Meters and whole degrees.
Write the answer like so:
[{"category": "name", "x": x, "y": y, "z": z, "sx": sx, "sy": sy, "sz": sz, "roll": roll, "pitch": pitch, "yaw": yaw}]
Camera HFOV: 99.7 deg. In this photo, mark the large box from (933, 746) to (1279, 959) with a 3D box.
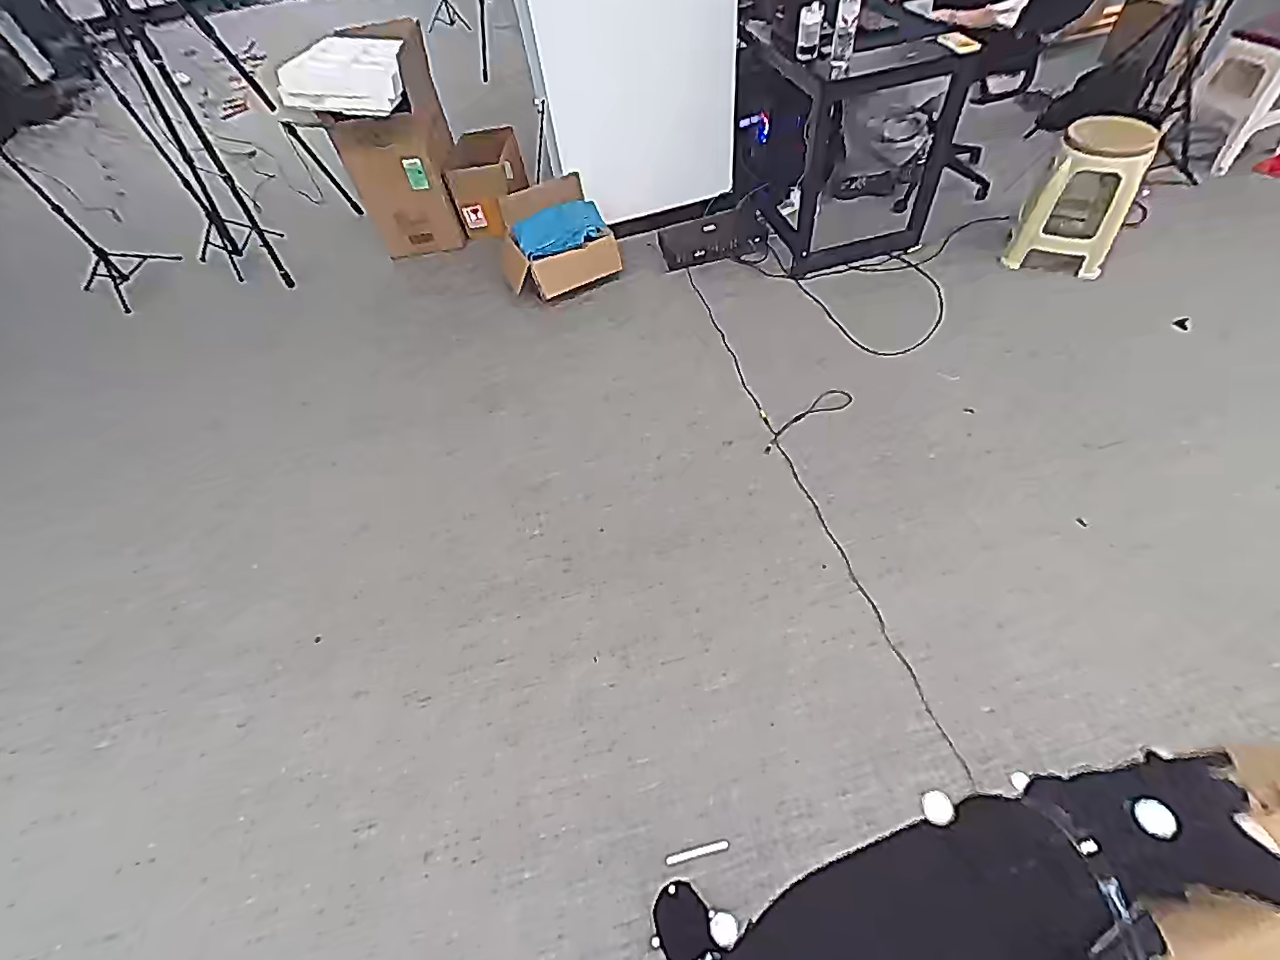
[{"category": "large box", "x": 0.496, "y": 0.463, "z": 0.407, "sx": 0.320, "sy": 0.320, "sz": 0.408, "roll": -22, "pitch": 62, "yaw": 9}]
